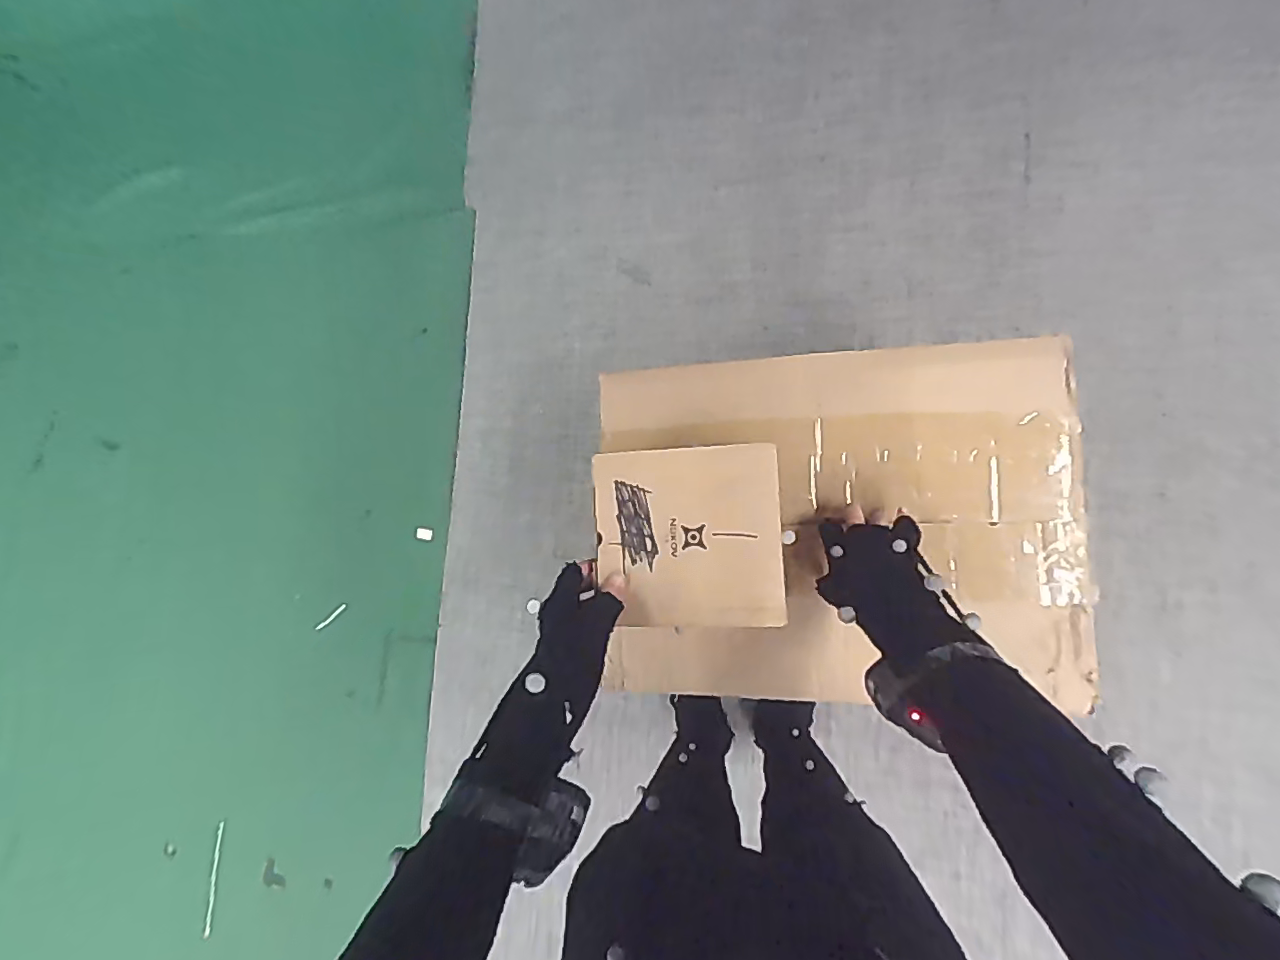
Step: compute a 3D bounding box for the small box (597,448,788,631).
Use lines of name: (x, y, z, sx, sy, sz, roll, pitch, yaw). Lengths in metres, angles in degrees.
small box: (0.063, 0.063, 0.577, 0.179, 0.176, 0.168, -3, 85, 12)
